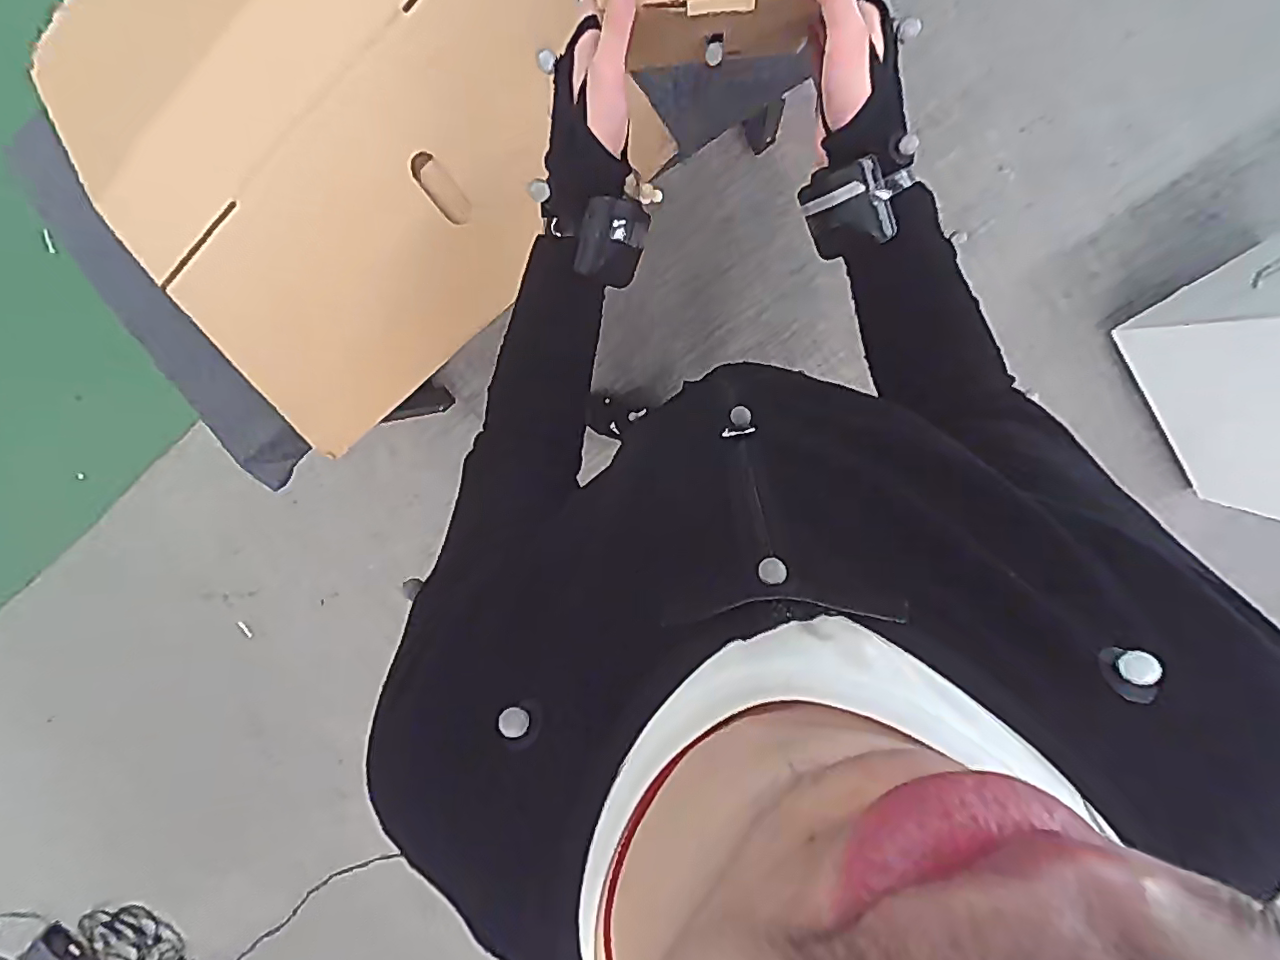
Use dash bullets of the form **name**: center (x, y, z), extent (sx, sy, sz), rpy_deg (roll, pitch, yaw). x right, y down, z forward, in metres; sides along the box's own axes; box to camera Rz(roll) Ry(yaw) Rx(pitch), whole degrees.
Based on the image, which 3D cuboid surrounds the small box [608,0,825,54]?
- **small box**: center (0.059, -0.436, 0.389), extent (0.168, 0.176, 0.179), rpy_deg (-3, 116, 7)
